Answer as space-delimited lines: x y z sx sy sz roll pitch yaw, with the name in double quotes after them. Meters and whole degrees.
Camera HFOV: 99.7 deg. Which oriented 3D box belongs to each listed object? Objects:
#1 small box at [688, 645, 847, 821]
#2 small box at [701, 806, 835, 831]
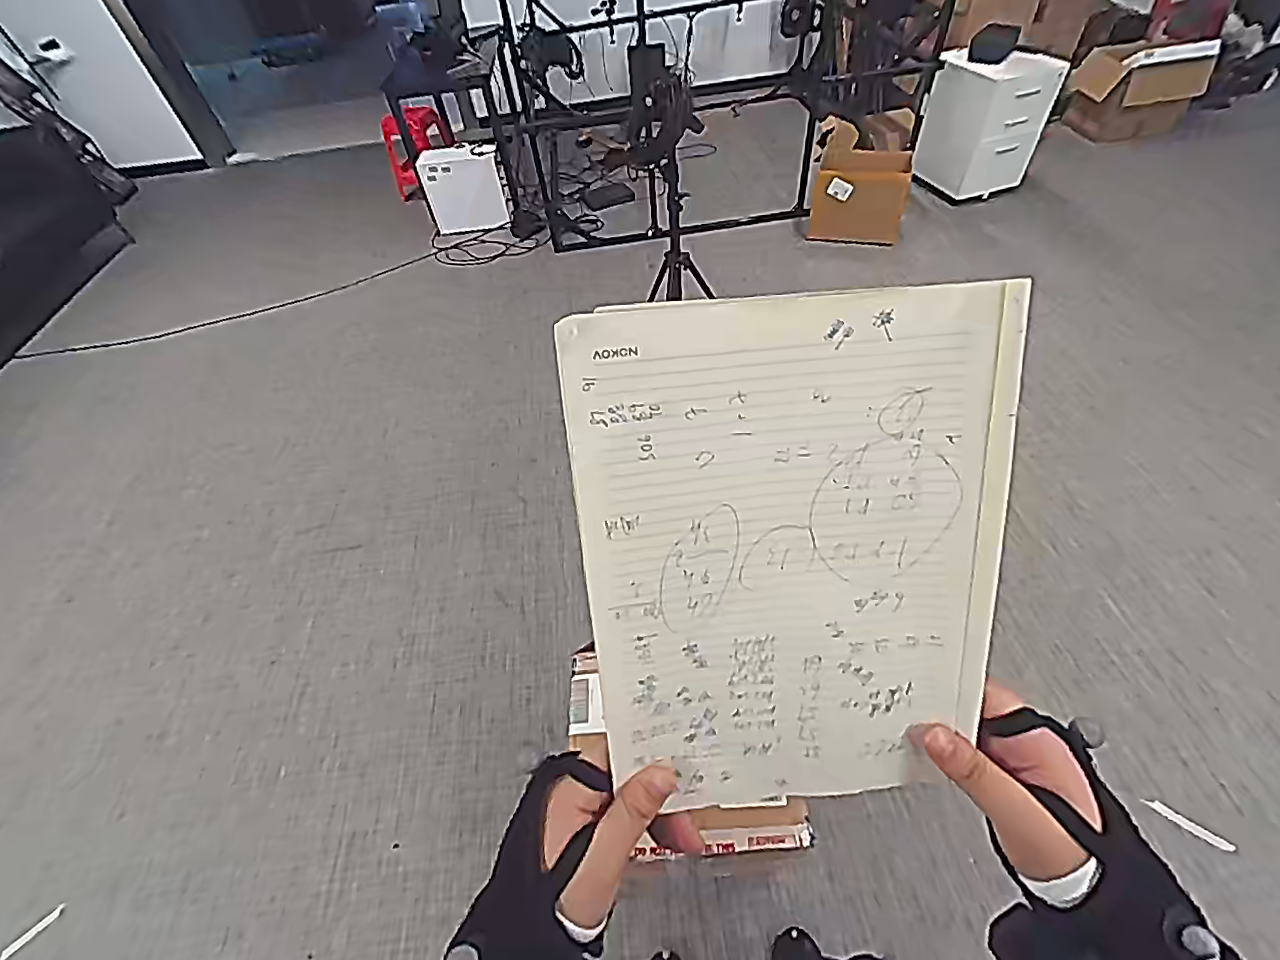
0.151 0.334 0.712 0.168 0.176 0.179 -1 52 2 "small box"
0.178 0.435 0.841 0.179 0.176 0.168 -5 50 0 "small box"
